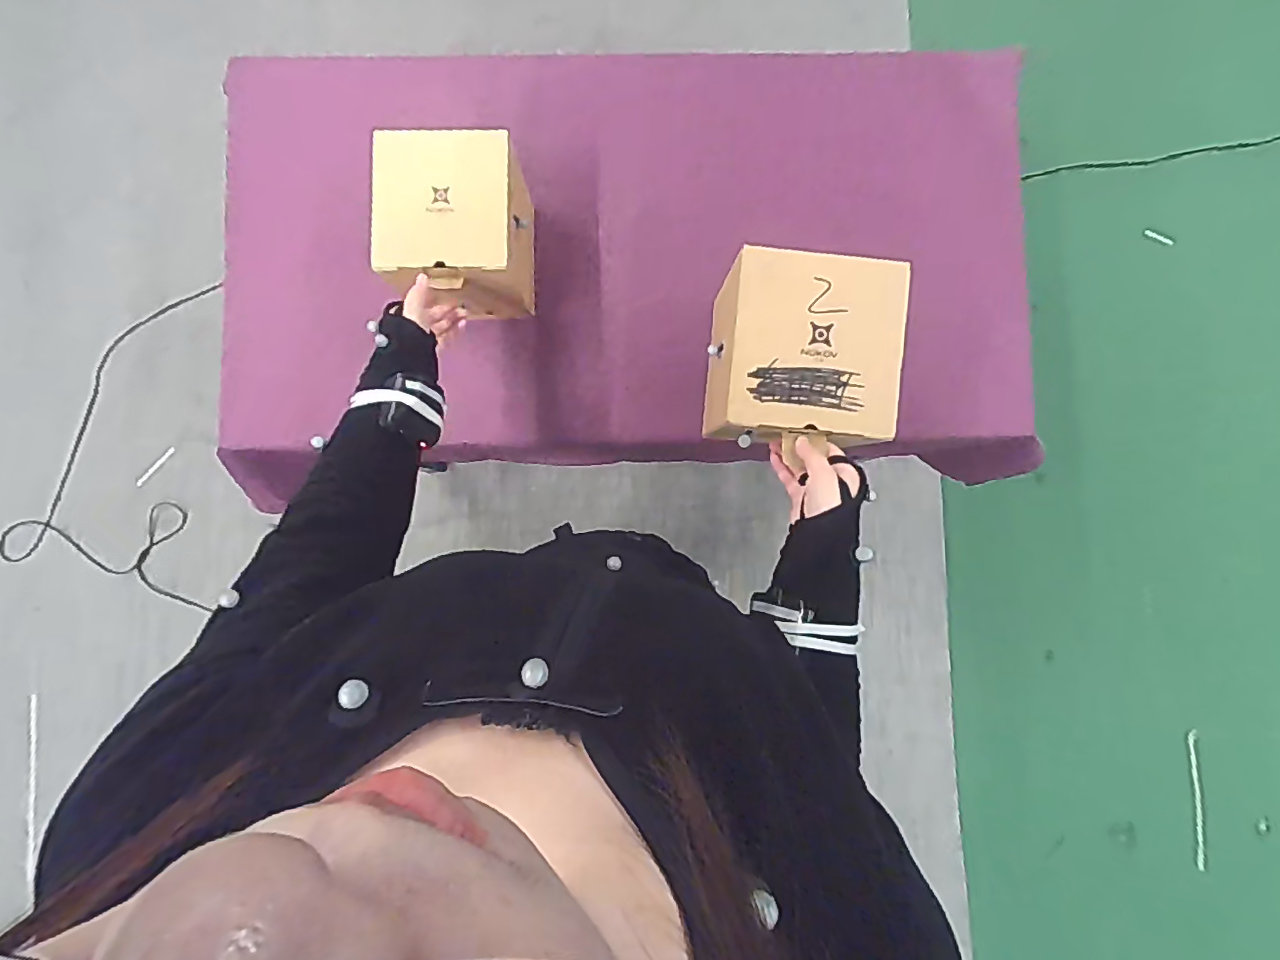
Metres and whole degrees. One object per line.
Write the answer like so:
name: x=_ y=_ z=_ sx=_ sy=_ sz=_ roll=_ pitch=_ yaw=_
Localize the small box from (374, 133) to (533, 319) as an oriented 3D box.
small box: x=-0.245 y=-0.339 z=0.748 sx=0.168 sy=0.176 sz=0.179 roll=0 pitch=87 yaw=-1
